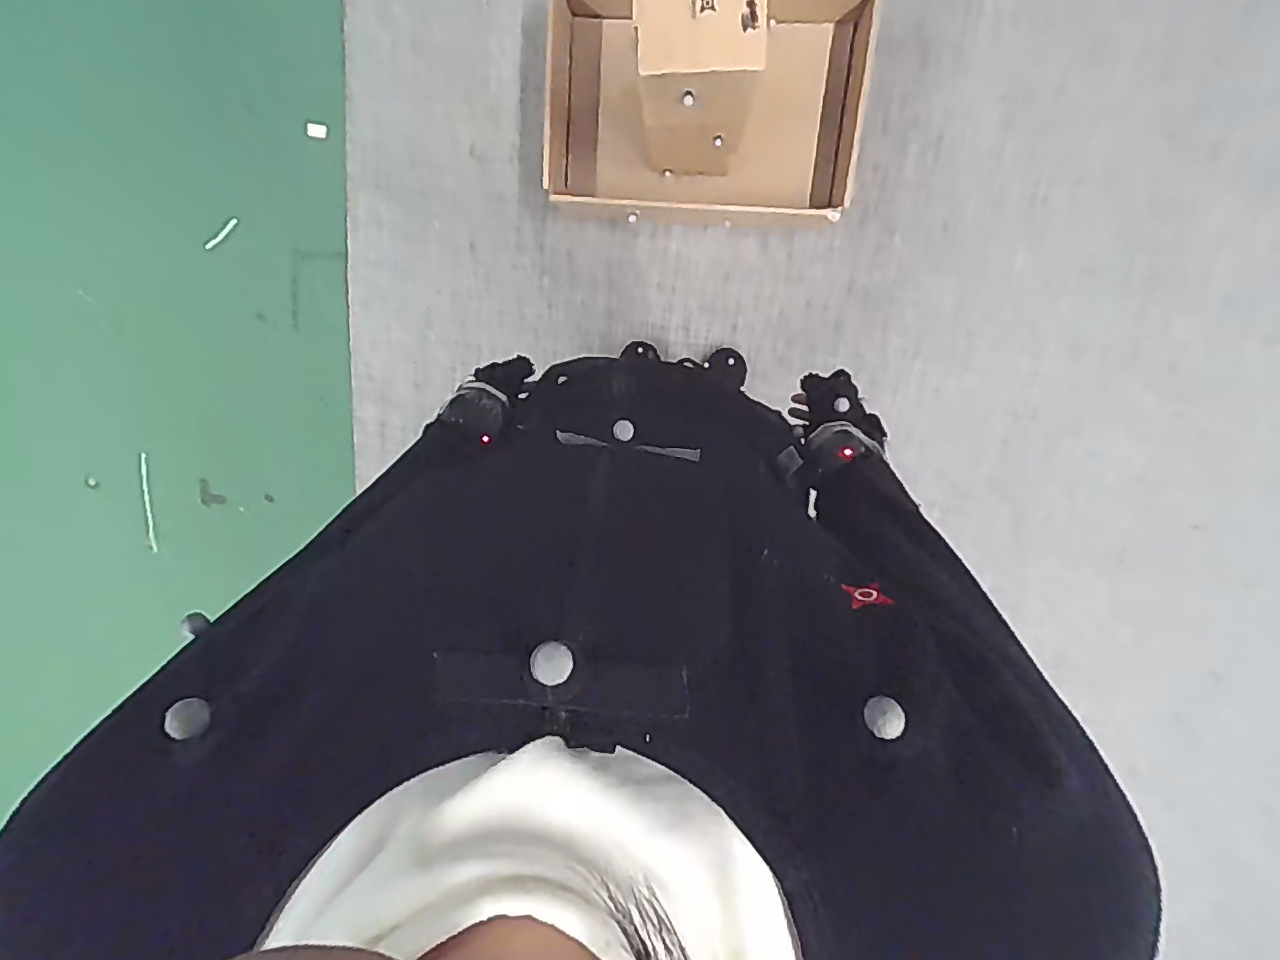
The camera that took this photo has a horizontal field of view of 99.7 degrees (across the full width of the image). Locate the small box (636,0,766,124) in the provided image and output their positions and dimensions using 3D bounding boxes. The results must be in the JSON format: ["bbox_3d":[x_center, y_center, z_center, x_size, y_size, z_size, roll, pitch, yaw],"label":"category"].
[{"bbox_3d":[0.088,-0.656,0.801,0.179,0.176,0.168,-2,102,5],"label":"small box"}]

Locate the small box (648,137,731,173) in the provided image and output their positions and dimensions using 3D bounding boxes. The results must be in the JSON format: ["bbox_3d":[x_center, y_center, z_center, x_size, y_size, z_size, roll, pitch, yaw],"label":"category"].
[{"bbox_3d":[0.111,-0.750,1.110,0.168,0.176,0.179,5,104,4],"label":"small box"}]
